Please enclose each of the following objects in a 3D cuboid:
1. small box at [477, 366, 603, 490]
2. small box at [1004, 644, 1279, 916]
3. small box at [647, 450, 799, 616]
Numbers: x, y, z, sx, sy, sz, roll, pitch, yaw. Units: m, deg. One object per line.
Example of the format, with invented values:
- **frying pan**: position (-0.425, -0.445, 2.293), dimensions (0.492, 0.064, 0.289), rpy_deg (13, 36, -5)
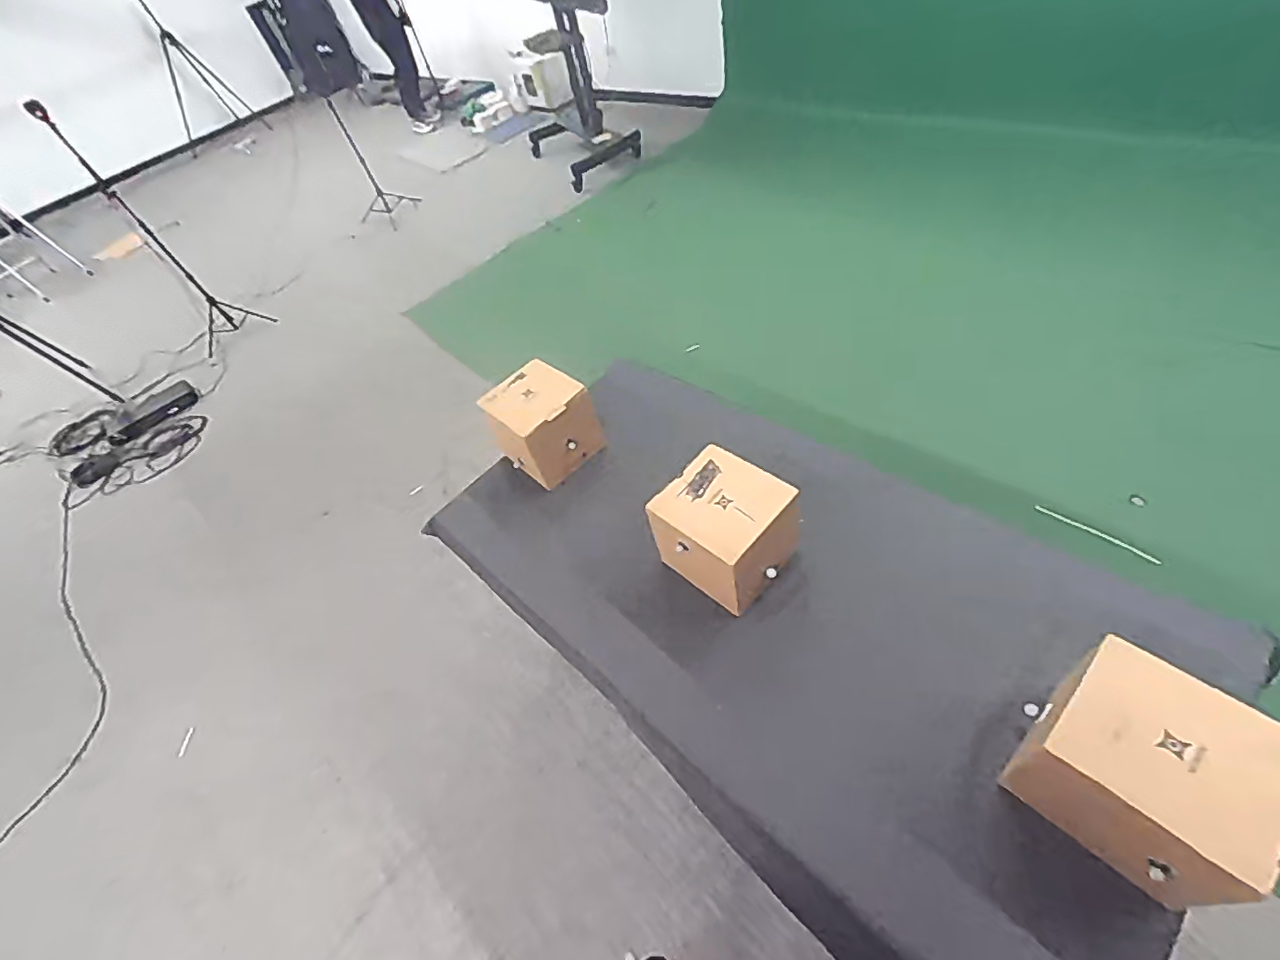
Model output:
- **small box**: position (-0.202, -0.104, 1.139), dimensions (0.168, 0.176, 0.179), rpy_deg (-42, 54, -20)
- **small box**: position (0.537, 0.319, 0.579), dimensions (0.168, 0.176, 0.179), rpy_deg (-41, 51, -20)
- **small box**: position (0.138, 0.089, 0.883), dimensions (0.179, 0.176, 0.168), rpy_deg (33, 66, 34)
